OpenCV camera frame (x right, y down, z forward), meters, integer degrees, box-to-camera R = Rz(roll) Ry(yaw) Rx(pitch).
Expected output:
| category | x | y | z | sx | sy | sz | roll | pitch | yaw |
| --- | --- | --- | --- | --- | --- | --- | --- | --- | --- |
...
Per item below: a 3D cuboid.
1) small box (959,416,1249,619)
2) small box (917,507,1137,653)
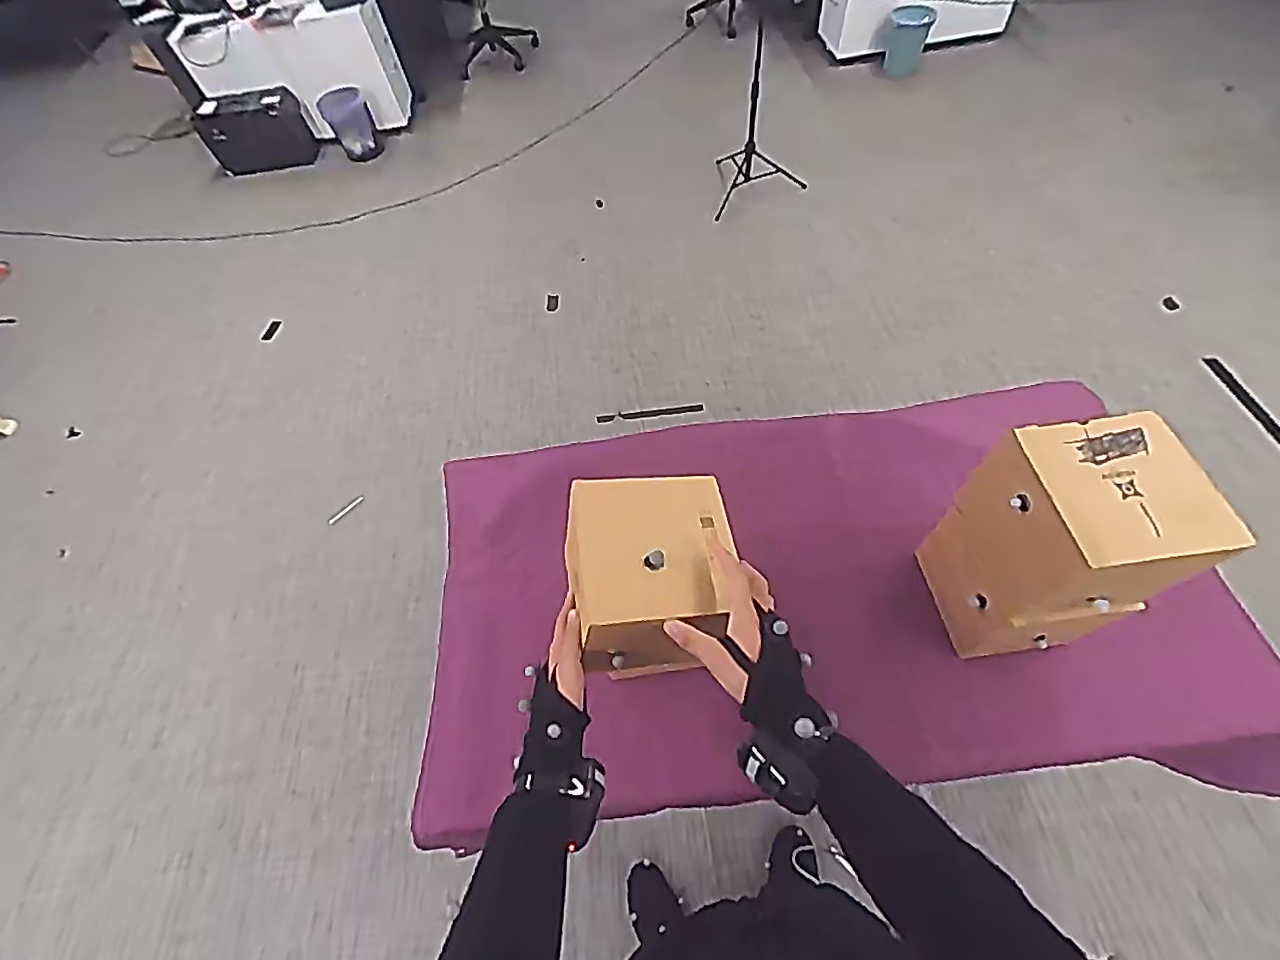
| category | x | y | z | sx | sy | sz | roll | pitch | yaw |
| --- | --- | --- | --- | --- | --- | --- | --- | --- | --- |
| small box | 0.522 | 0.050 | 0.648 | 0.168 | 0.176 | 0.179 | -8 | 59 | 2 |
| small box | 0.537 | 0.143 | 0.783 | 0.168 | 0.176 | 0.179 | -8 | 58 | 1 |
